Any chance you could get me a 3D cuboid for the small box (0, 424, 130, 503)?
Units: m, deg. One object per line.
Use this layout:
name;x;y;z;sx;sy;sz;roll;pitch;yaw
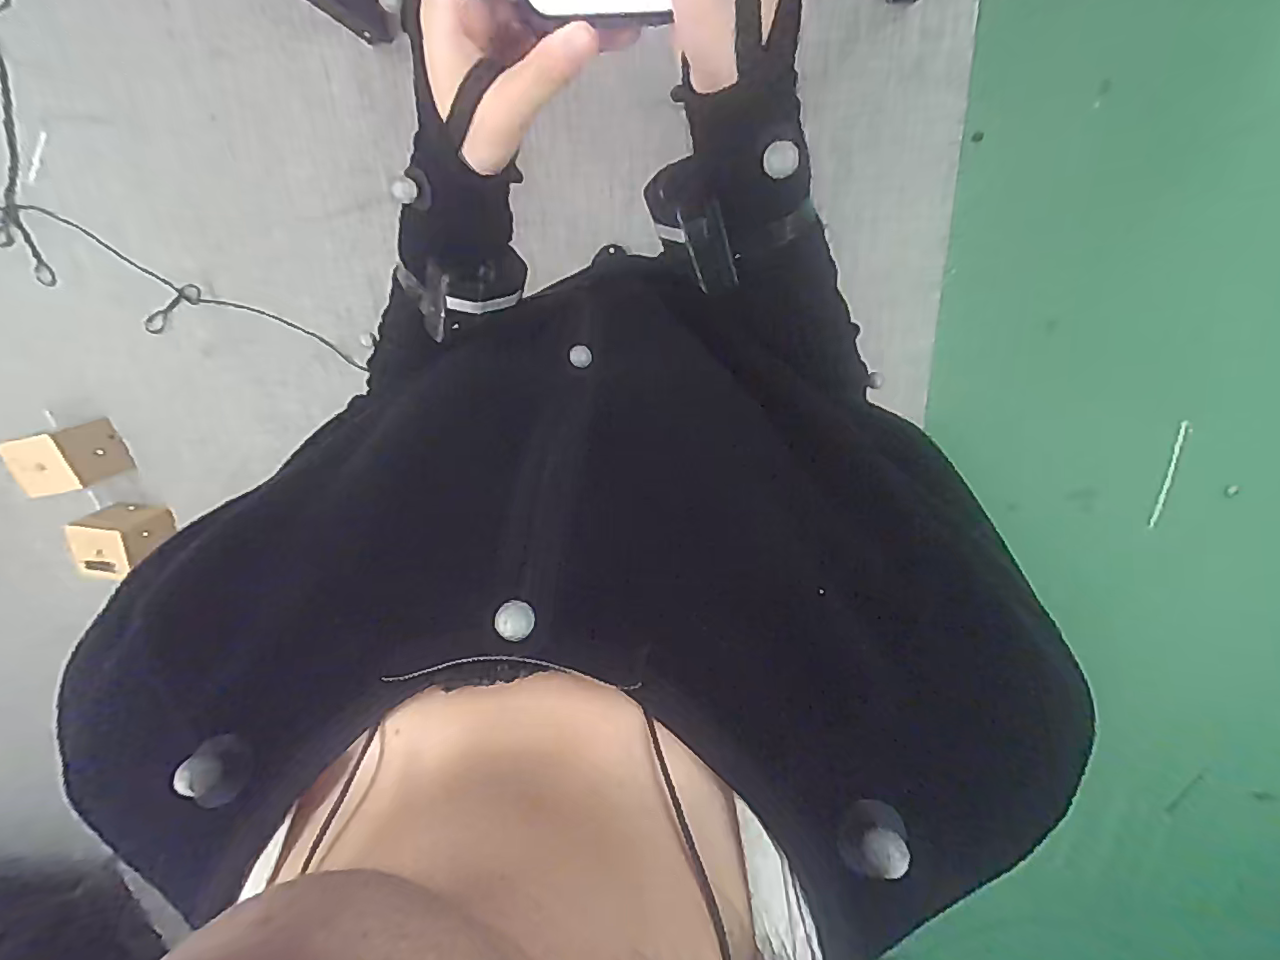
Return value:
small box;-1.636;-0.052;1.554;0.179;0.176;0.168;-9;111;8
